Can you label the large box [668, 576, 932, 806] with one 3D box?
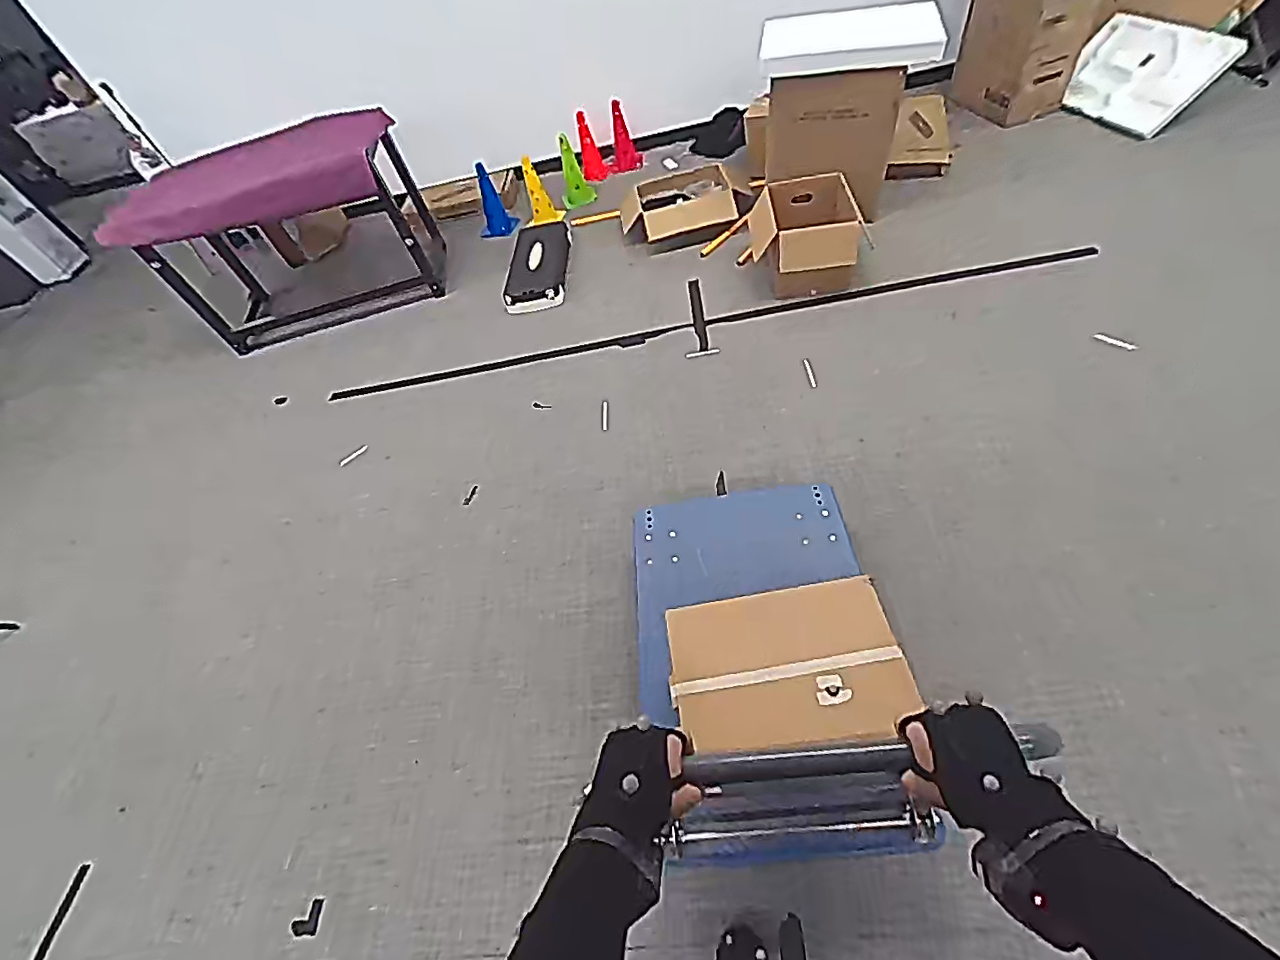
[{"bbox_3d":[0.289,0.436,1.095,0.408,0.320,0.320,-11,52,3],"label":"large box"}]
